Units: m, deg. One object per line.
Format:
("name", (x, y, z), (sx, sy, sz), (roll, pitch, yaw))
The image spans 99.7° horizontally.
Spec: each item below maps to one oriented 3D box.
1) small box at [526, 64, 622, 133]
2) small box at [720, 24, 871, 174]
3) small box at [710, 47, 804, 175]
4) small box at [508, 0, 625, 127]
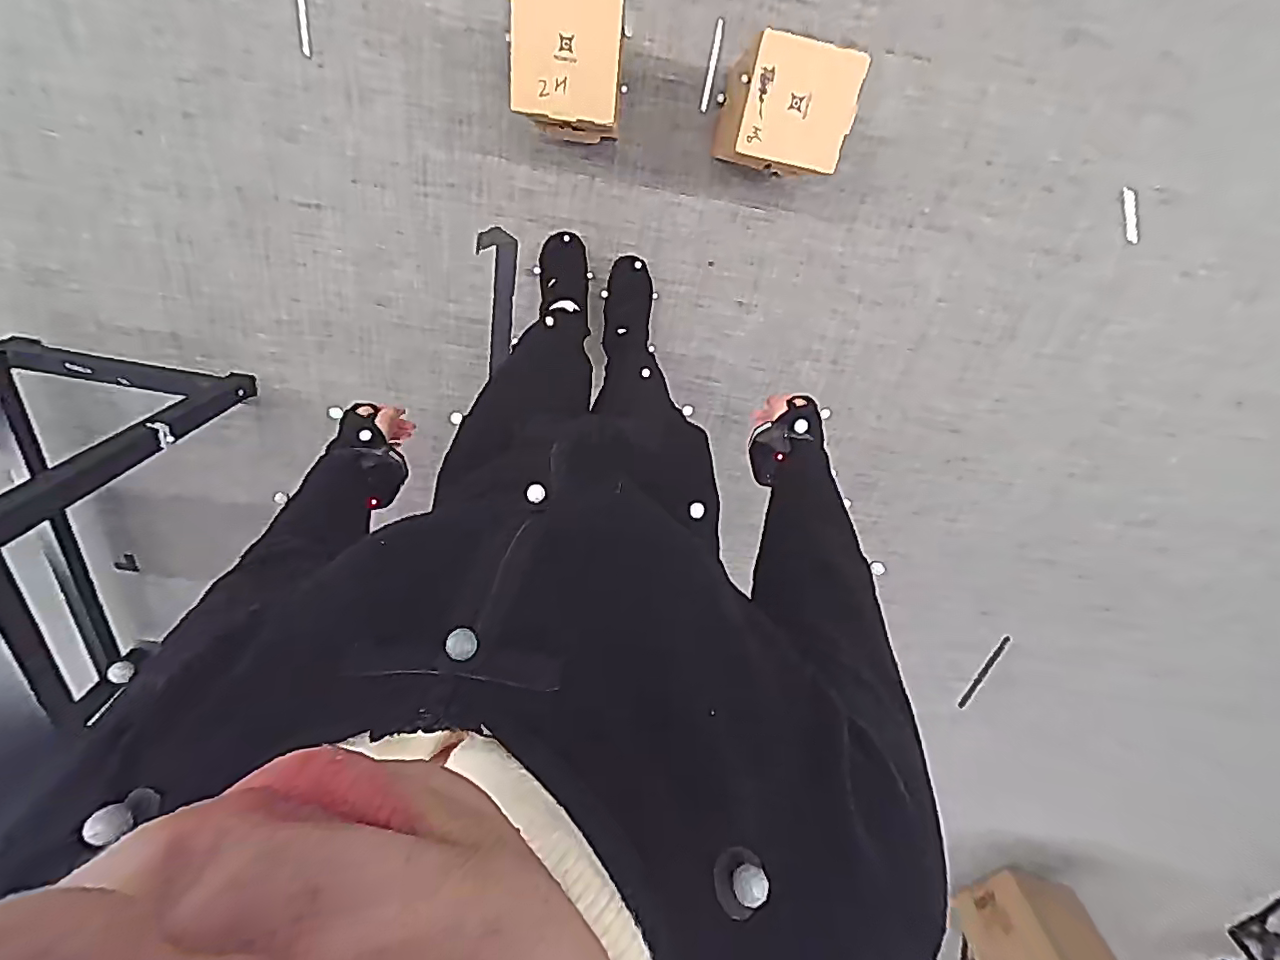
("small box", (-0.121, -0.767, 1.021), (0.168, 0.176, 0.179), (4, 120, -3))
("small box", (0.251, -0.634, 0.919), (0.179, 0.176, 0.168), (10, 119, -7))
("small box", (0.249, -0.714, 1.061), (0.179, 0.176, 0.168), (11, 119, -7))
("small box", (-0.115, -0.690, 0.875), (0.168, 0.176, 0.179), (6, 121, -4))
